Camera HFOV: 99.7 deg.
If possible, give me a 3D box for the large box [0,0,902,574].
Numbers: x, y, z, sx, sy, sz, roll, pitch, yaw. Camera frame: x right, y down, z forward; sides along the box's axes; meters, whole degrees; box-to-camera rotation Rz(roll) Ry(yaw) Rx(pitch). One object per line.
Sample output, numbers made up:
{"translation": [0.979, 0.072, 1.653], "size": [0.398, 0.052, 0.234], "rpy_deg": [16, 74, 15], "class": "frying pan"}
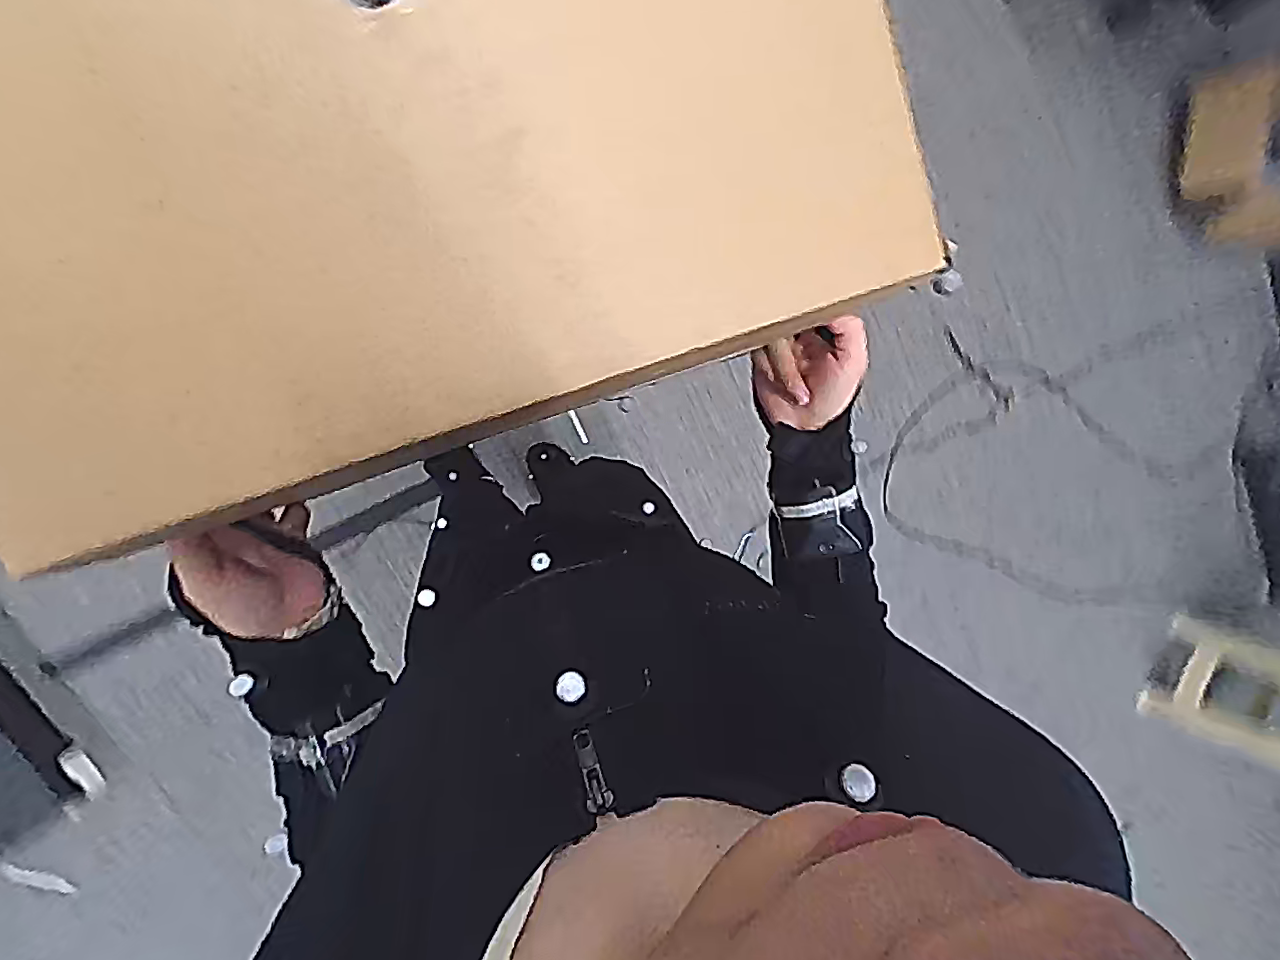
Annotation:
{"translation": [-0.141, -0.189, 0.346], "size": [0.408, 0.320, 0.320], "rpy_deg": [-22, 100, -5], "class": "large box"}
